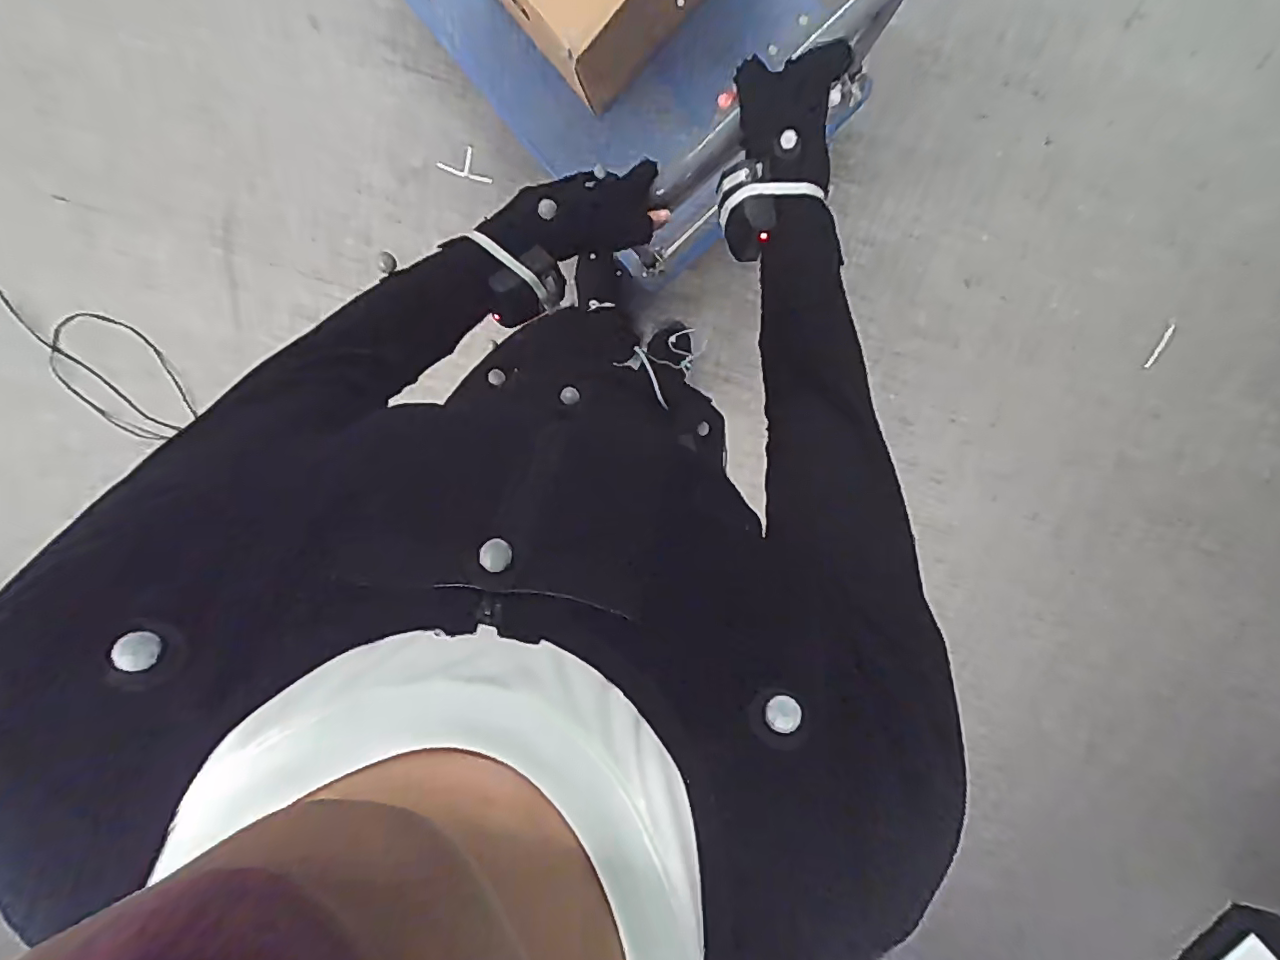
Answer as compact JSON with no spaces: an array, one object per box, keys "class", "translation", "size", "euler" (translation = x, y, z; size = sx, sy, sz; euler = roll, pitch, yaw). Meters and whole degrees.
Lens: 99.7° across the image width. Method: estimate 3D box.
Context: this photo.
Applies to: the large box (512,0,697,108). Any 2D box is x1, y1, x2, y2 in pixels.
[{"class":"large box","translation":[-0.038,-0.909,0.851],"size":[0.408,0.320,0.320],"euler":[-41,103,18]}]
